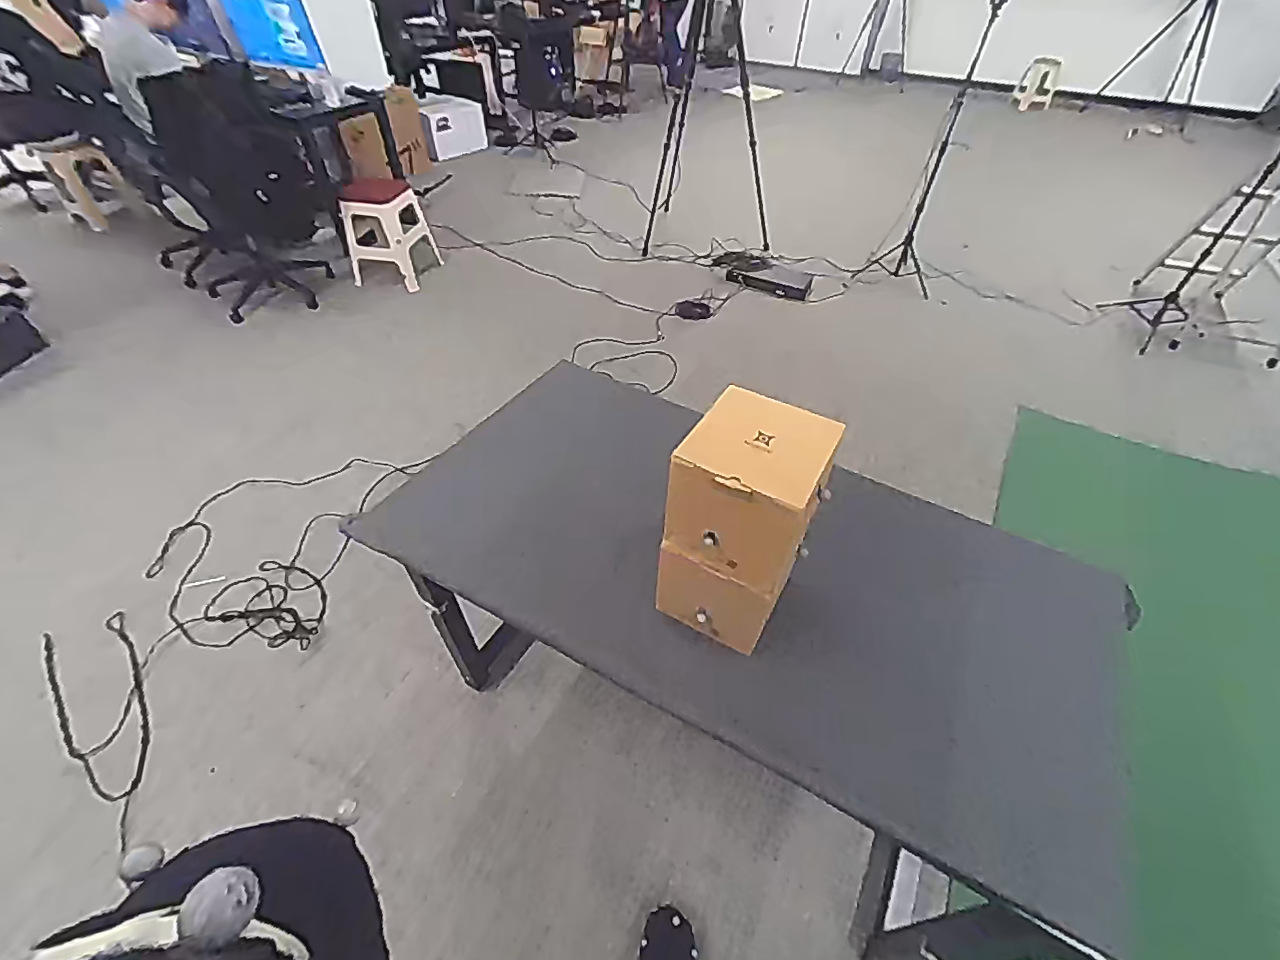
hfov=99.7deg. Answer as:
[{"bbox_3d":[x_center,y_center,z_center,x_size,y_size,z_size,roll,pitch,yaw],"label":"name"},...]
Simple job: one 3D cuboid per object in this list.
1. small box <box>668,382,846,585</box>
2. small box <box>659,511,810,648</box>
[{"bbox_3d":[0.147,0.004,0.723,0.168,0.176,0.179,25,50,19],"label":"small box"},{"bbox_3d":[0.138,0.120,0.836,0.168,0.176,0.179,24,50,20],"label":"small box"}]
